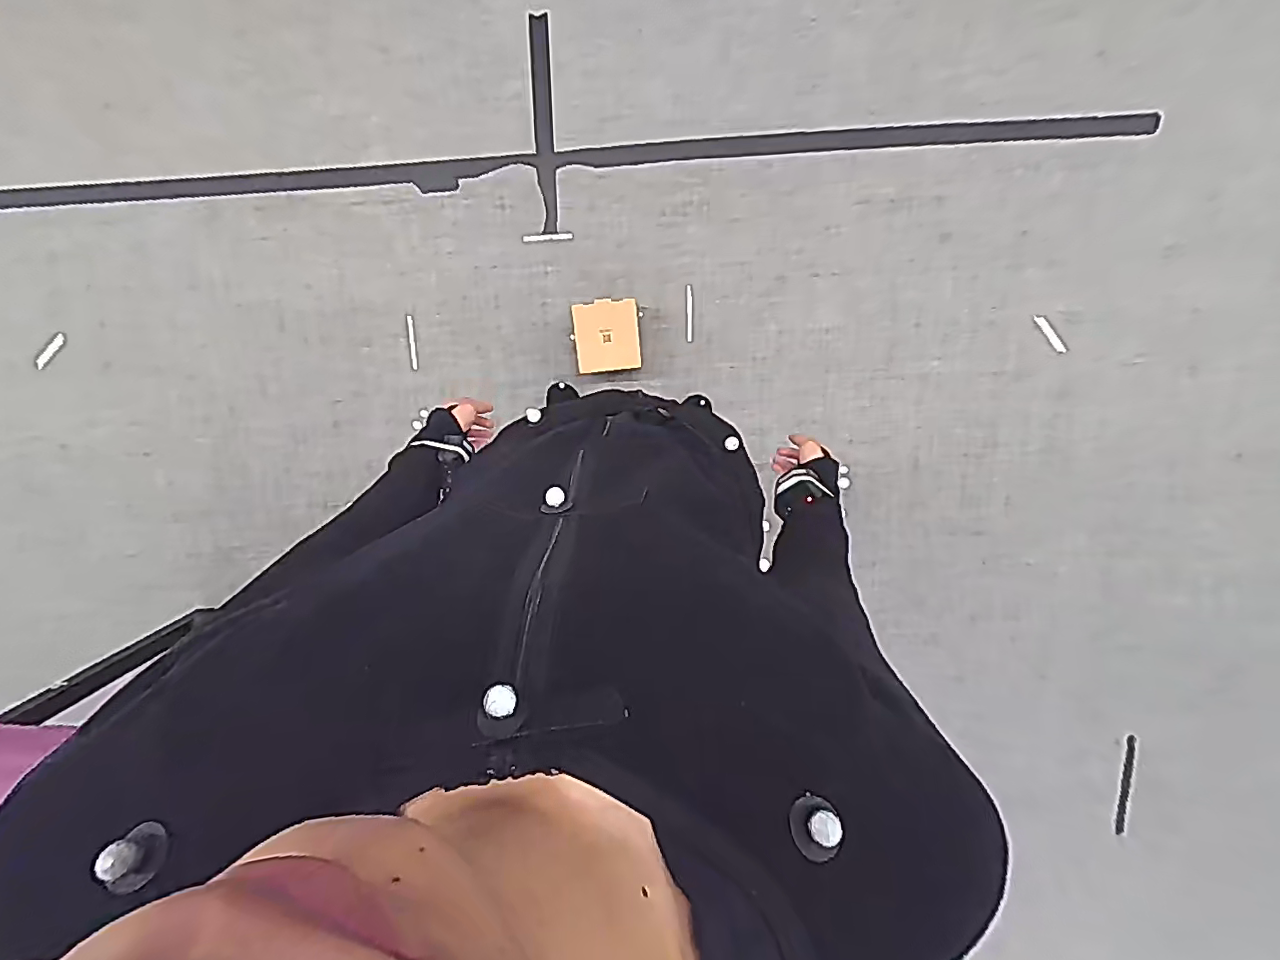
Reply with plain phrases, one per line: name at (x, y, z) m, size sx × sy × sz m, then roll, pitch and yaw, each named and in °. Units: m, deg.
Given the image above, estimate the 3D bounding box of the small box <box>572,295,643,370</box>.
small box at (-0.080, -0.395, 1.459) m, size 0.168 × 0.176 × 0.179 m, roll -5°, pitch 102°, yaw 2°
